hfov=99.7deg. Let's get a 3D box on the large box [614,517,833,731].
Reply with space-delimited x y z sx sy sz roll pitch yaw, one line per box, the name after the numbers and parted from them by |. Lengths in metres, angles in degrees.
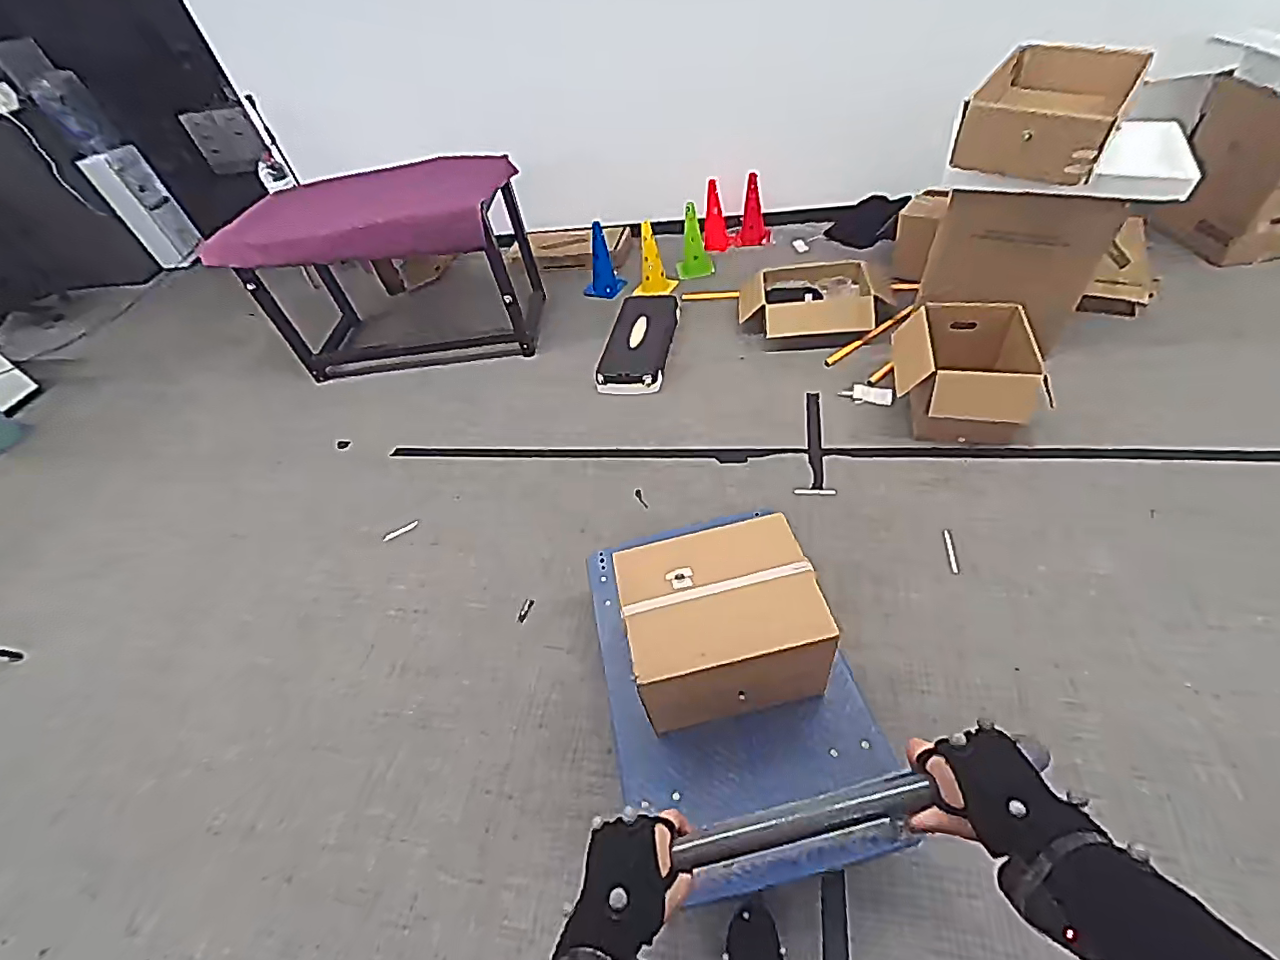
0.185 0.341 1.265 0.408 0.320 0.320 -15 47 0 | large box
